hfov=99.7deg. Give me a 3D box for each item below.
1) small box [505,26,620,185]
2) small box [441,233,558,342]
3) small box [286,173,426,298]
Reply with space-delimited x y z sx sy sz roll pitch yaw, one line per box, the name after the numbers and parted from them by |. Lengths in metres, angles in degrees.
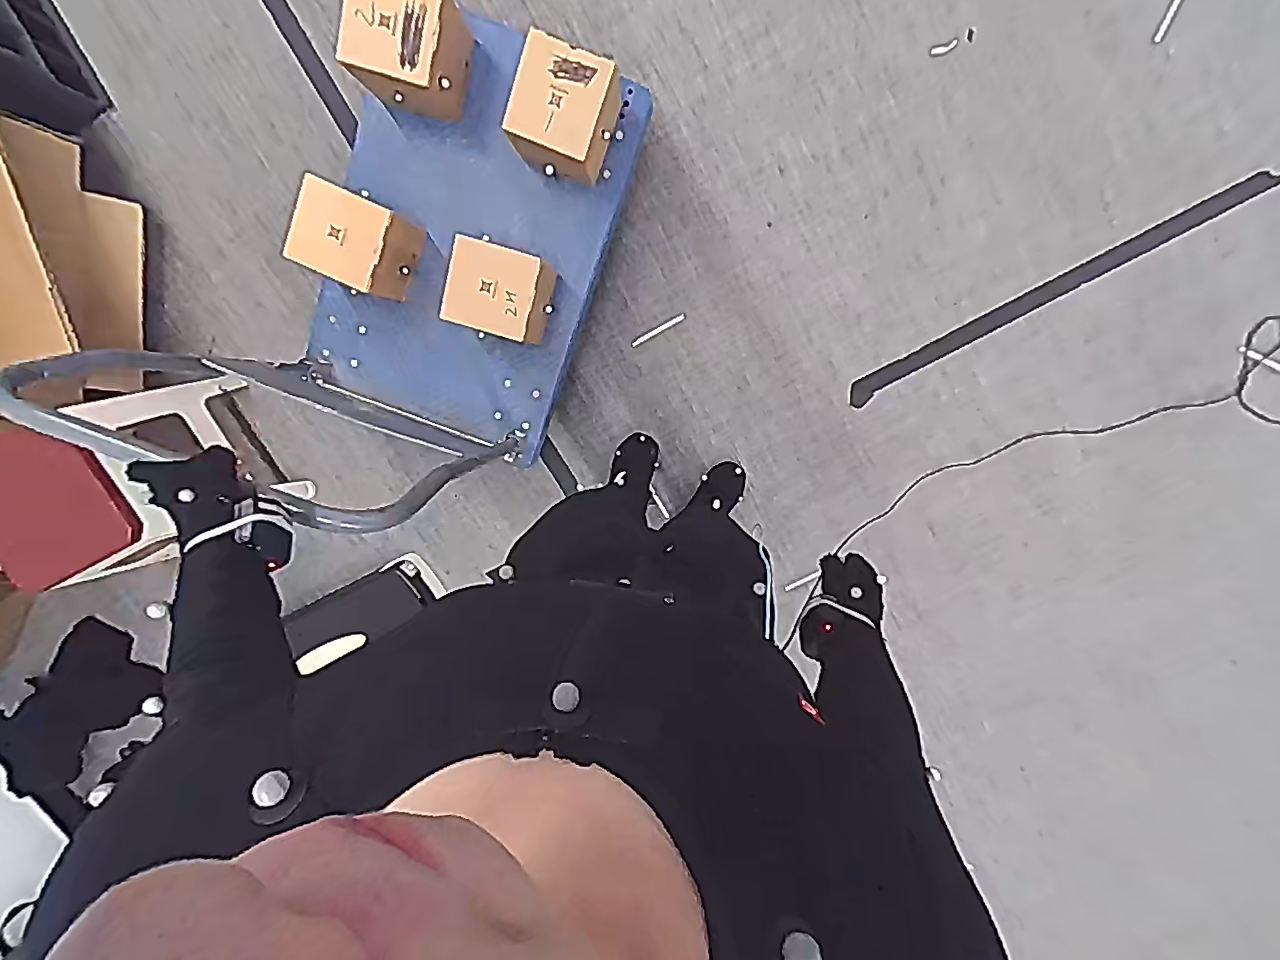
-0.142 -0.715 1.055 0.168 0.176 0.179 21 104 -3 | small box
-0.286 -0.391 1.131 0.179 0.176 0.168 16 103 -2 | small box
-0.578 -0.492 1.119 0.179 0.176 0.168 23 102 -5 | small box
